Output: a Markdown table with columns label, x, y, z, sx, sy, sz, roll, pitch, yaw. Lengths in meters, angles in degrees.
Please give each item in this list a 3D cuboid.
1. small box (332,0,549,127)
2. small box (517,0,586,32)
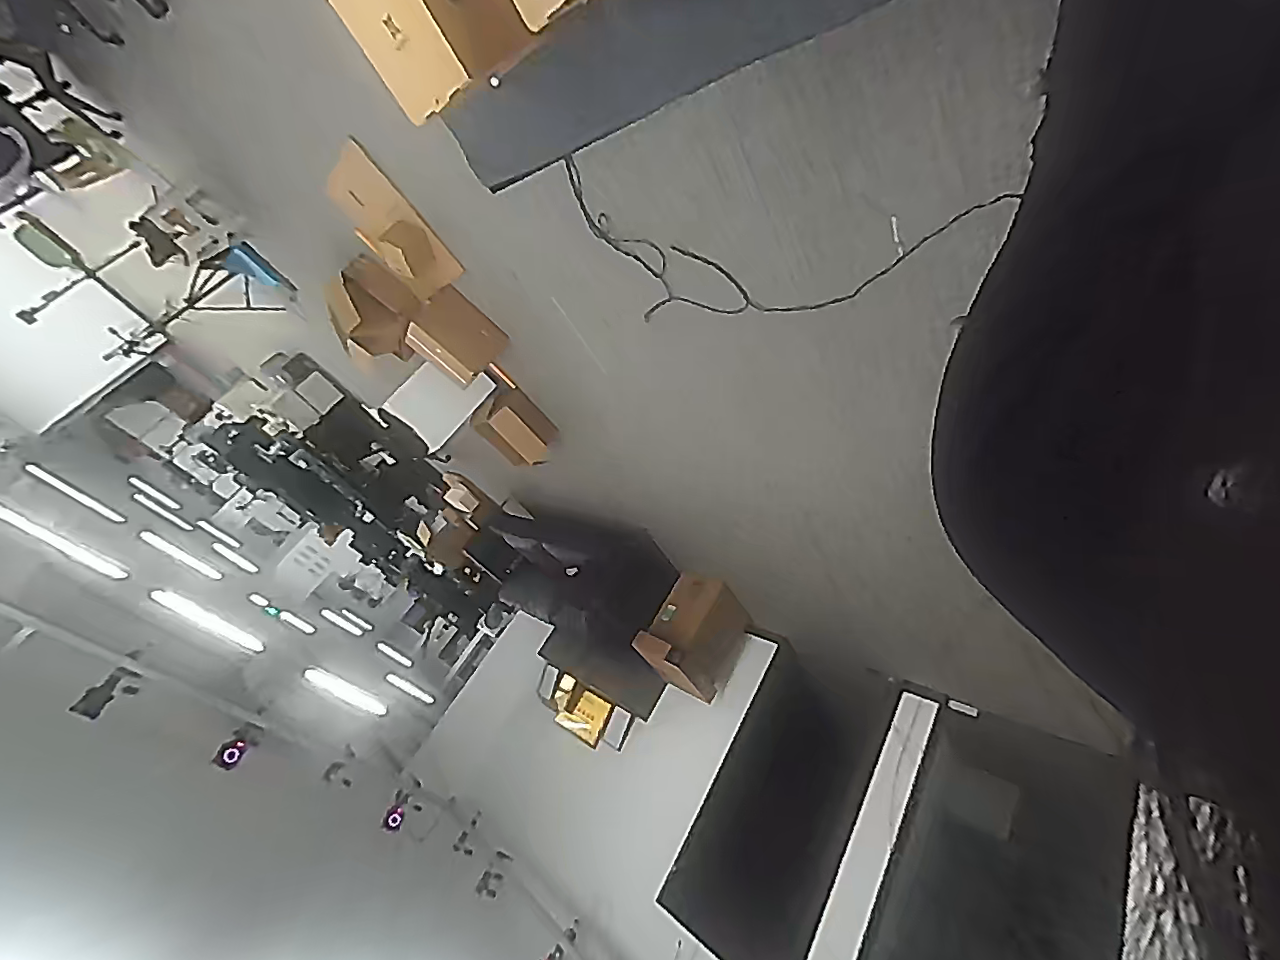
| label | x | y | z | sx | sy | sz | roll | pitch | yaw |
| --- | --- | --- | --- | --- | --- | --- | --- | --- | --- |
| small box | -0.255 | -0.610 | 0.697 | 0.168 | 0.176 | 0.179 | 7 | 143 | 45 |
| small box | -0.051 | -0.577 | 0.496 | 0.168 | 0.176 | 0.179 | 9 | 144 | 44 |
